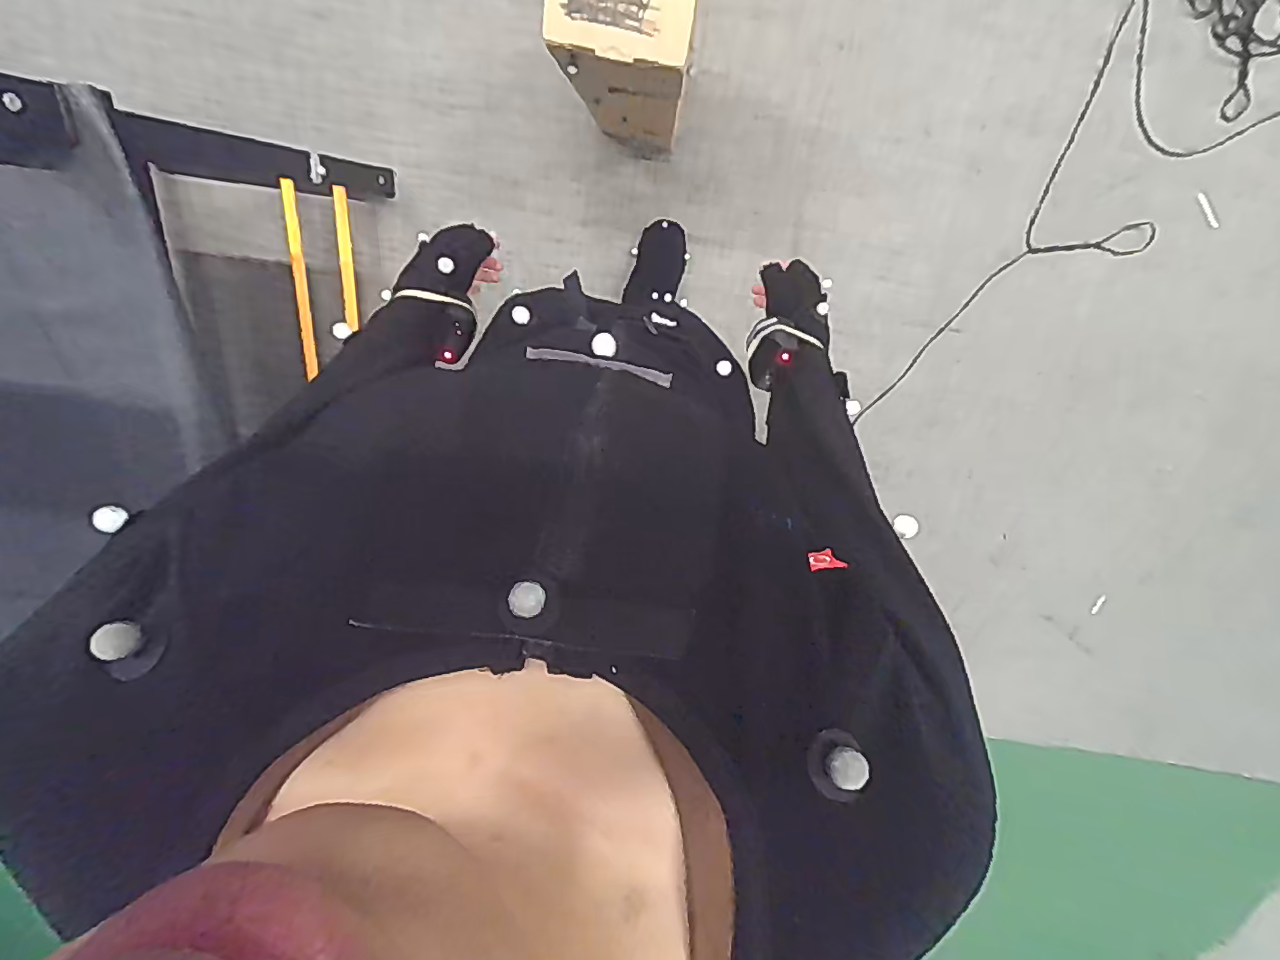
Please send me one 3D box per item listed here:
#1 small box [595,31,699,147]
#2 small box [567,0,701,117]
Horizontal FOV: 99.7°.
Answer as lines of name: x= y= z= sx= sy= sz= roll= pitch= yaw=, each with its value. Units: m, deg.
small box: x=0.013 y=-0.802 z=1.096 sx=0.168 sy=0.176 sz=0.179 roll=14 pitch=116 yaw=-3
small box: x=-0.004 y=-0.664 z=0.800 sx=0.168 sy=0.176 sz=0.179 roll=11 pitch=115 yaw=-3
